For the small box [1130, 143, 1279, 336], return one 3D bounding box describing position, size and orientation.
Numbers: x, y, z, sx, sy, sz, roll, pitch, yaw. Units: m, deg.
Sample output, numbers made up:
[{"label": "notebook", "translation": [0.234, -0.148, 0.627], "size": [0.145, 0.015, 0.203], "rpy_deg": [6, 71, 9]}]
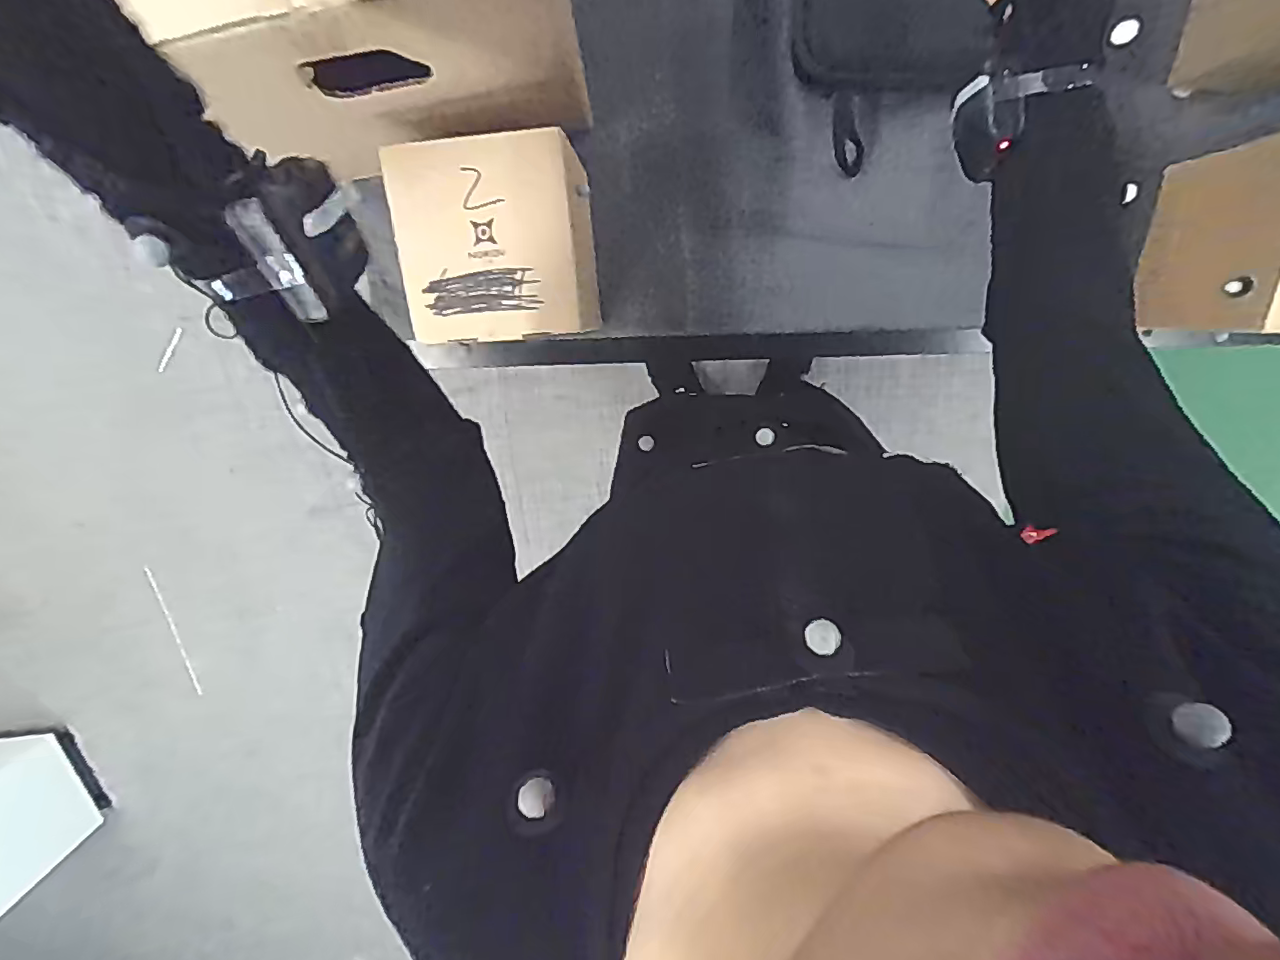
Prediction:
[{"label": "small box", "translation": [0.656, -0.237, 0.543], "size": [0.168, 0.176, 0.179], "rpy_deg": [2, 108, 3]}]
